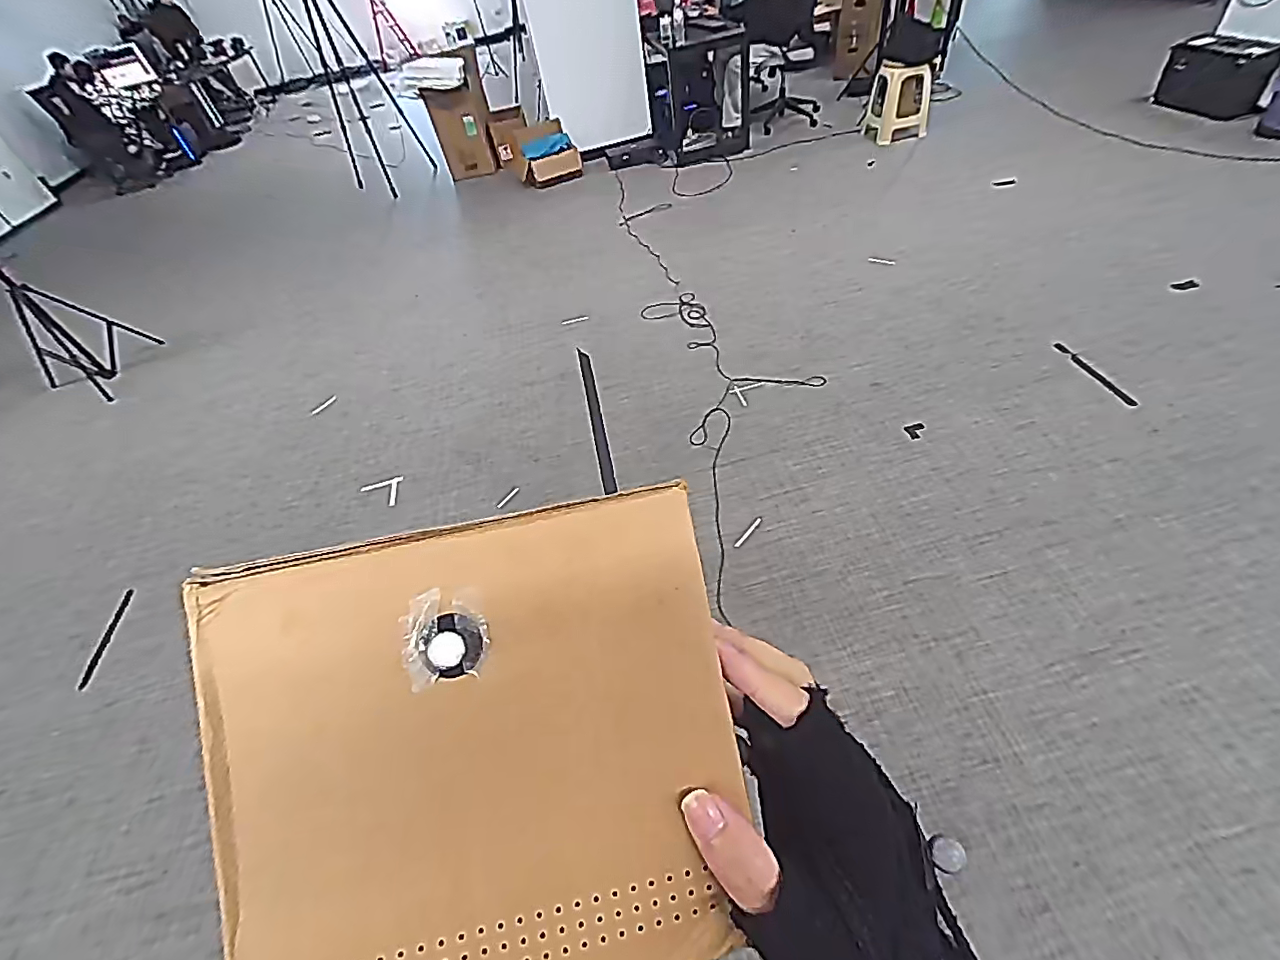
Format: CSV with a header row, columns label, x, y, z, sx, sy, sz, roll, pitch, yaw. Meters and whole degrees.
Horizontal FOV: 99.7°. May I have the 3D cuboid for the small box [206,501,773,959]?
label,x,y,z,sx,sy,sz,roll,pitch,yaw
small box,-0.056,0.113,0.263,0.179,0.168,0.176,-10,85,-6
